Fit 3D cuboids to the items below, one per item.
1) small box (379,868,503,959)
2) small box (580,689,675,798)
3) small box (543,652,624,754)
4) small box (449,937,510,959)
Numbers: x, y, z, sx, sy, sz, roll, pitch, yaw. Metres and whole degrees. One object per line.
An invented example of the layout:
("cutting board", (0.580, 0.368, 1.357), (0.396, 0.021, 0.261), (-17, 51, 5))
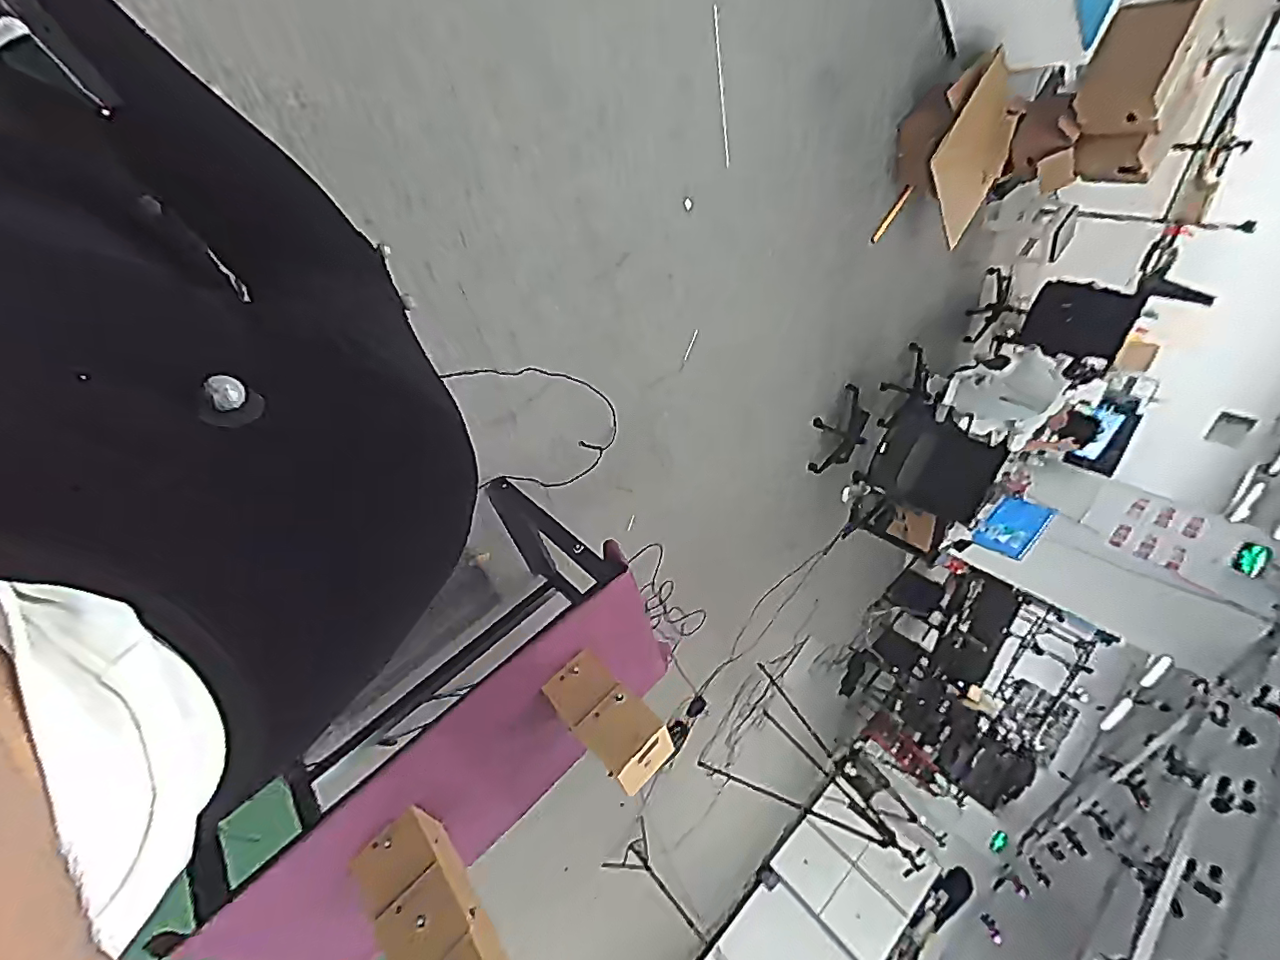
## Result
("small box", (-0.439, 1.002, 1.189), (0.168, 0.176, 0.179), (-38, 137, -23))
("small box", (-0.034, 0.678, 1.410), (0.168, 0.176, 0.179), (-39, 139, -23))
("small box", (-0.143, 0.619, 1.517), (0.168, 0.176, 0.179), (-39, 137, -23))
("small box", (-0.332, 1.071, 1.086), (0.168, 0.176, 0.179), (-40, 138, -23))
